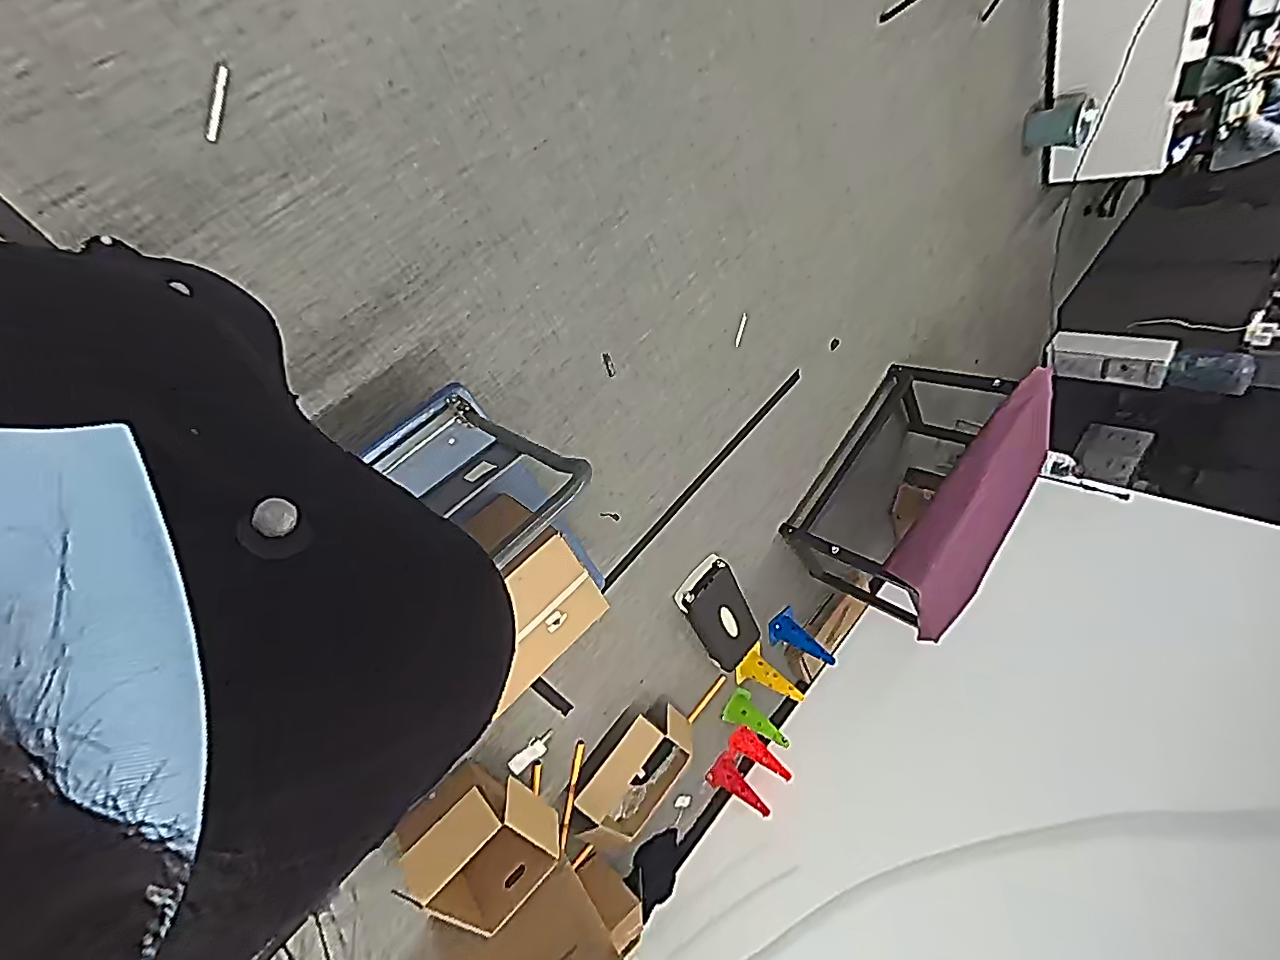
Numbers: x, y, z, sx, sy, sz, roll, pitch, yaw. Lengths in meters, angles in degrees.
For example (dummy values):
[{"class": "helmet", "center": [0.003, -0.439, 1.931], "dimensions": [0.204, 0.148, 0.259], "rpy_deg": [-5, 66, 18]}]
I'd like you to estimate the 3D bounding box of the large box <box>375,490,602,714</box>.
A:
[{"class": "large box", "center": [-0.384, 0.296, 1.396], "dimensions": [0.408, 0.320, 0.320], "rpy_deg": [-43, 131, -21]}]
